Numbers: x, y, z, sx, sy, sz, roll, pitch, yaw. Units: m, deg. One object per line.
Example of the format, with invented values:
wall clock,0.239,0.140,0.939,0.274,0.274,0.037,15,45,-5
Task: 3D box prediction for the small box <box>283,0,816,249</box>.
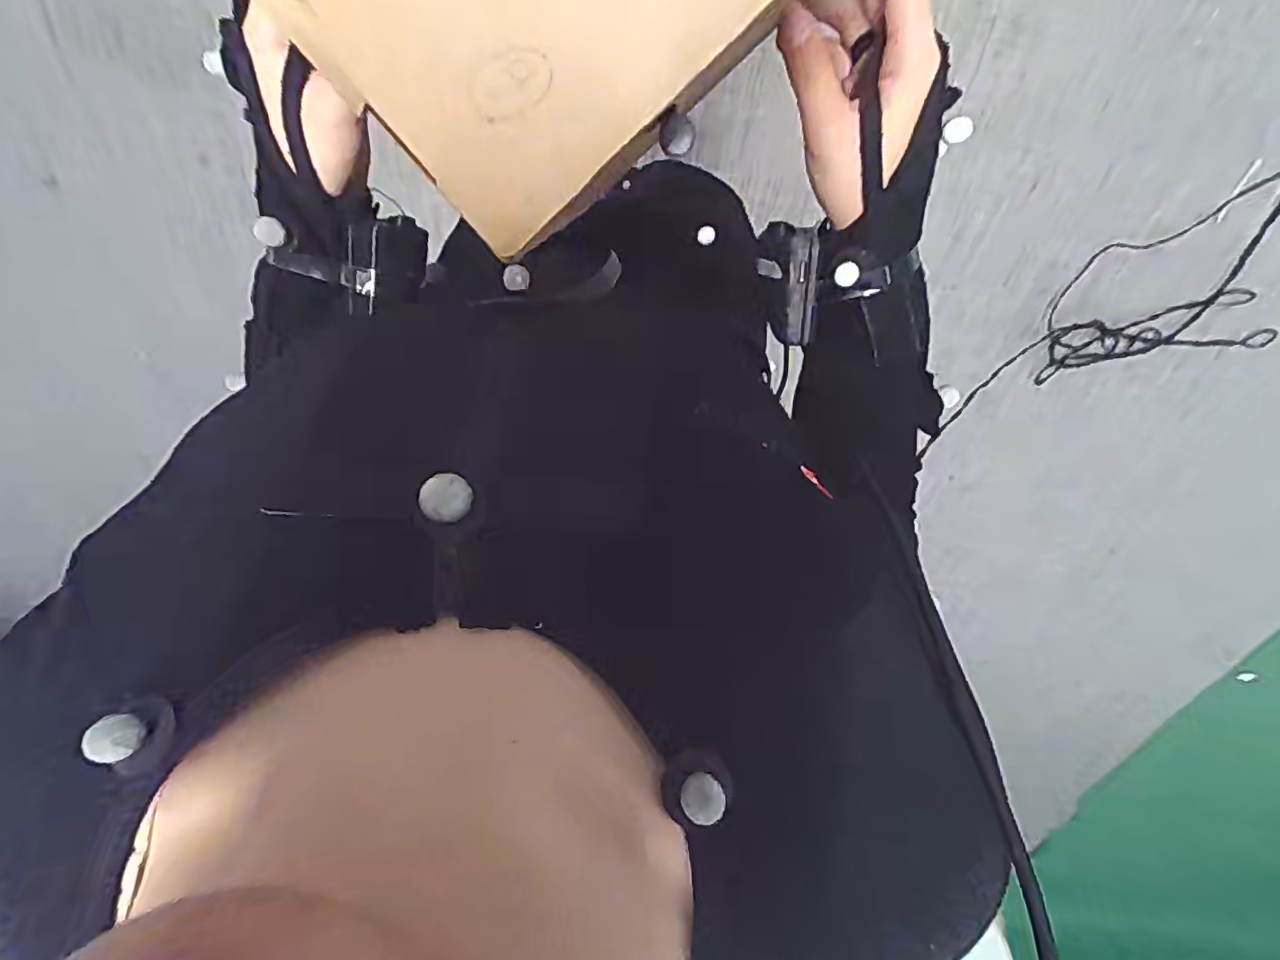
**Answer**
small box,-0.025,-0.217,0.196,0.179,0.176,0.168,-33,114,21
